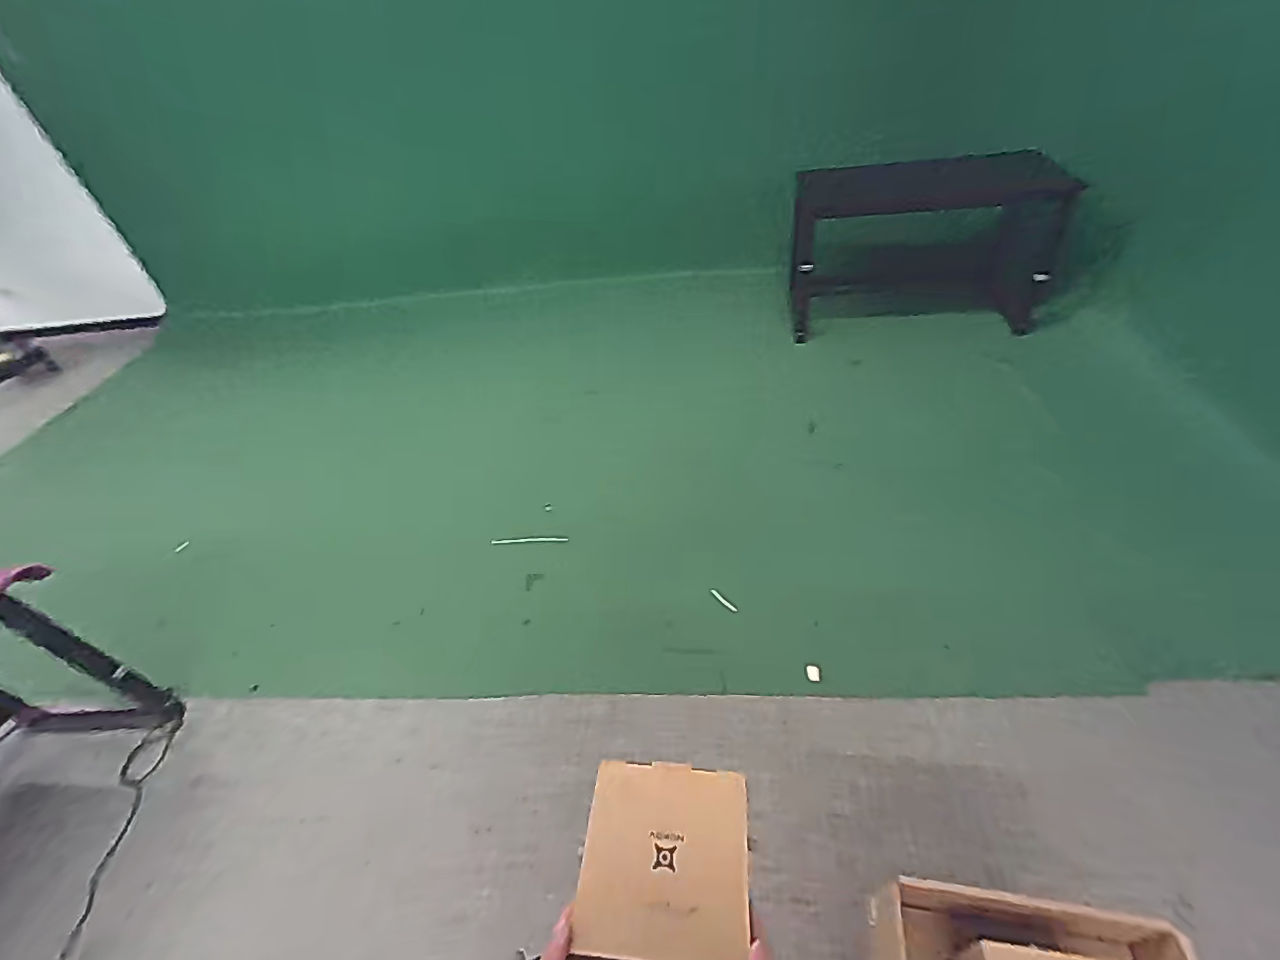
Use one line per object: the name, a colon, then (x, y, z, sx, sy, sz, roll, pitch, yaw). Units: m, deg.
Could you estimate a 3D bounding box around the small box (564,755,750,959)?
small box: (0.026, 0.429, 0.580, 0.168, 0.176, 0.179, 2, 38, 7)
